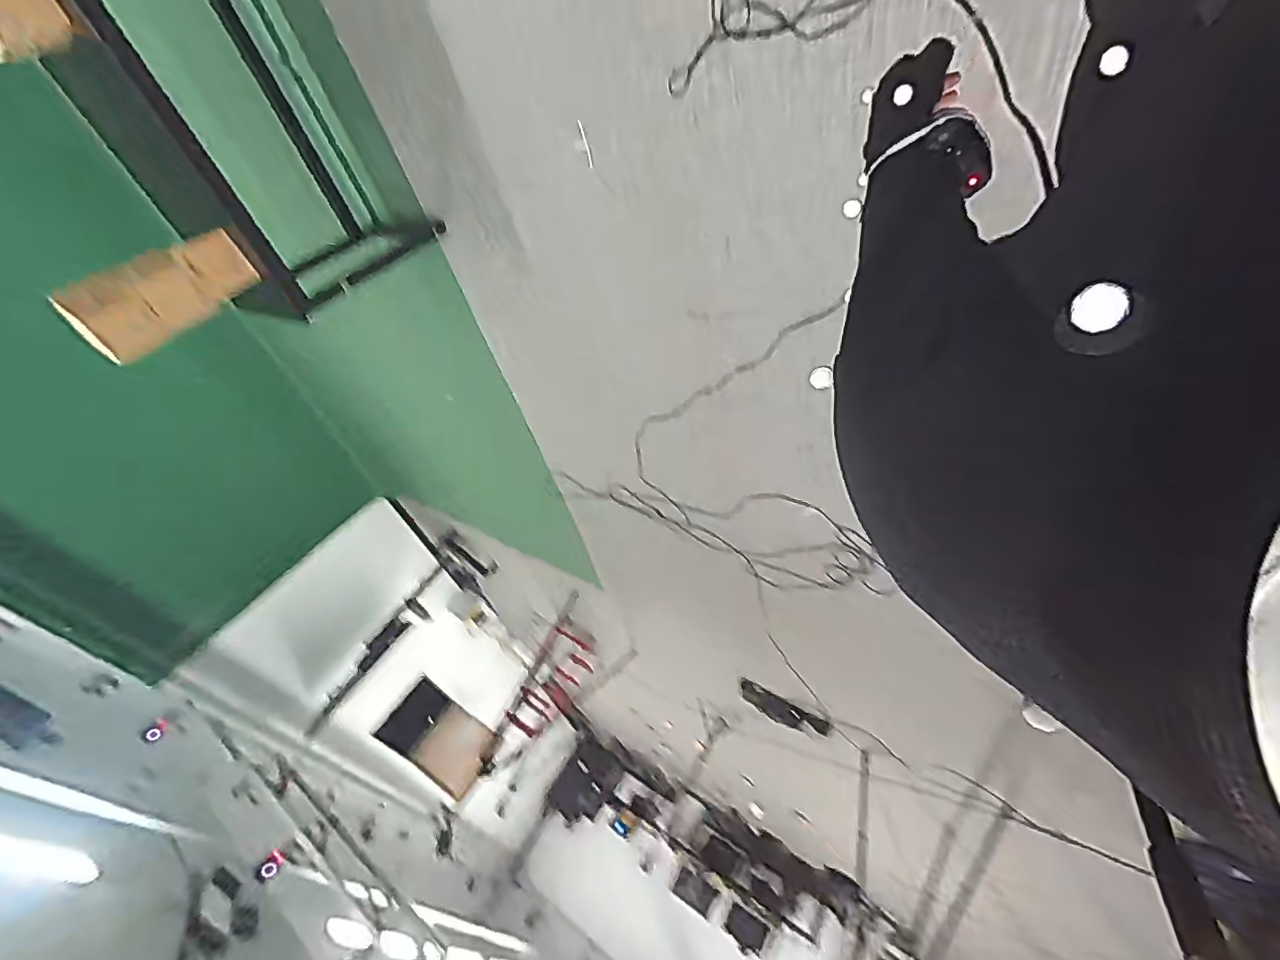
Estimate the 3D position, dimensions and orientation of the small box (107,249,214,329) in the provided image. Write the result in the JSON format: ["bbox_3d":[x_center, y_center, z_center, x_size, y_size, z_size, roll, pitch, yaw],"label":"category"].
[{"bbox_3d":[-1.544,-0.626,1.757,0.179,0.176,0.168,26,147,22],"label":"small box"}]

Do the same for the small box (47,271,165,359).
[{"bbox_3d":[-1.639,-0.516,1.679,0.179,0.176,0.168,31,147,12],"label":"small box"}]

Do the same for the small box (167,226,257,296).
[{"bbox_3d":[-1.456,-0.739,1.837,0.179,0.176,0.168,10,139,38],"label":"small box"}]
